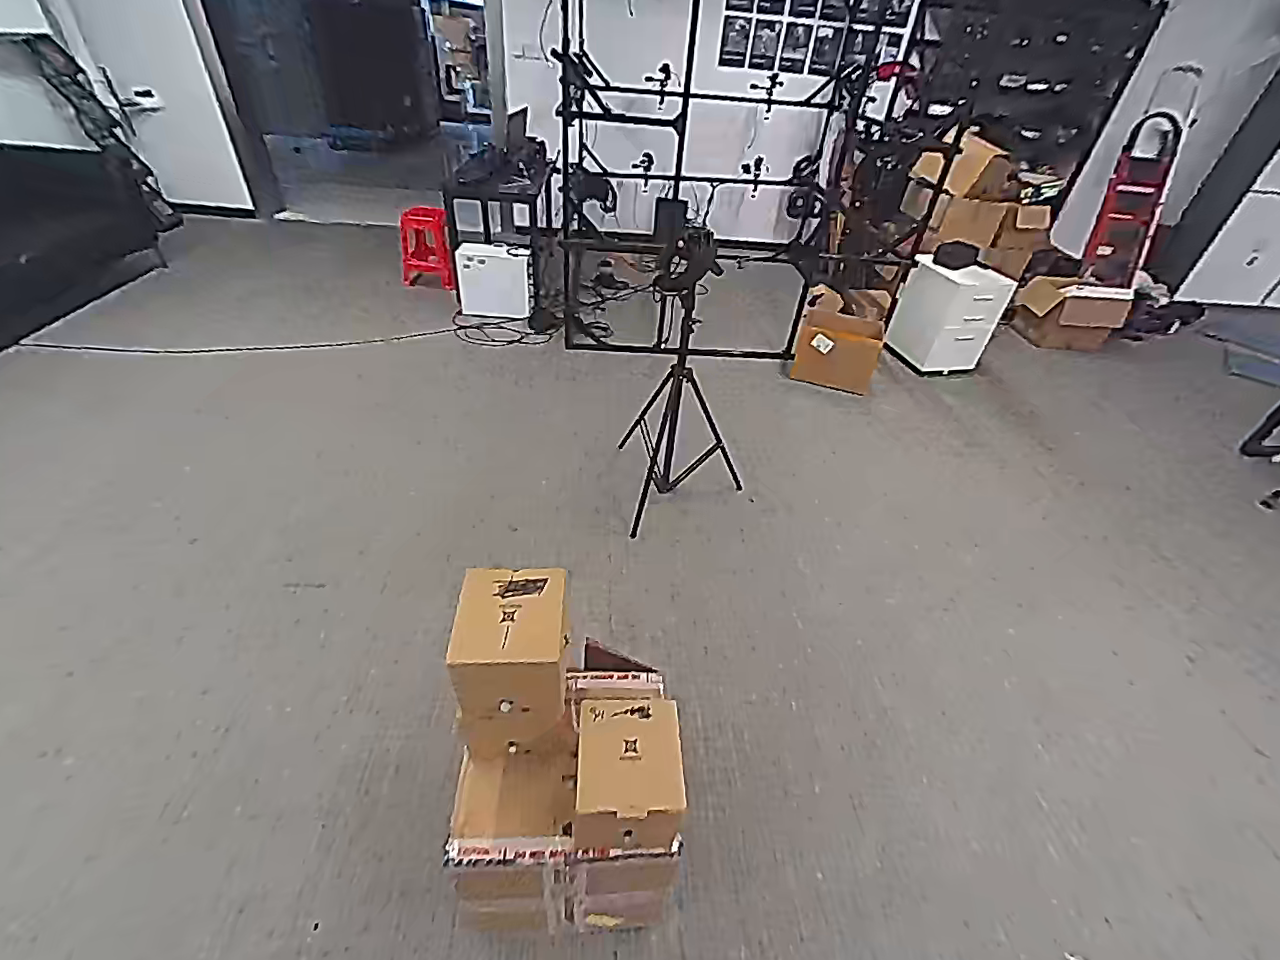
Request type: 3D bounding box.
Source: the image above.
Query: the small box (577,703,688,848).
[{"bbox_3d":[-0.019,0.496,0.902,0.168,0.176,0.179,2,41,-6],"label":"small box"}]

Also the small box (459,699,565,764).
[{"bbox_3d":[-0.227,0.396,1.000,0.168,0.176,0.179,-3,42,-6],"label":"small box"}]

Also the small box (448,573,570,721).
[{"bbox_3d":[-0.203,0.274,0.891,0.168,0.176,0.179,0,42,-4],"label":"small box"}]
